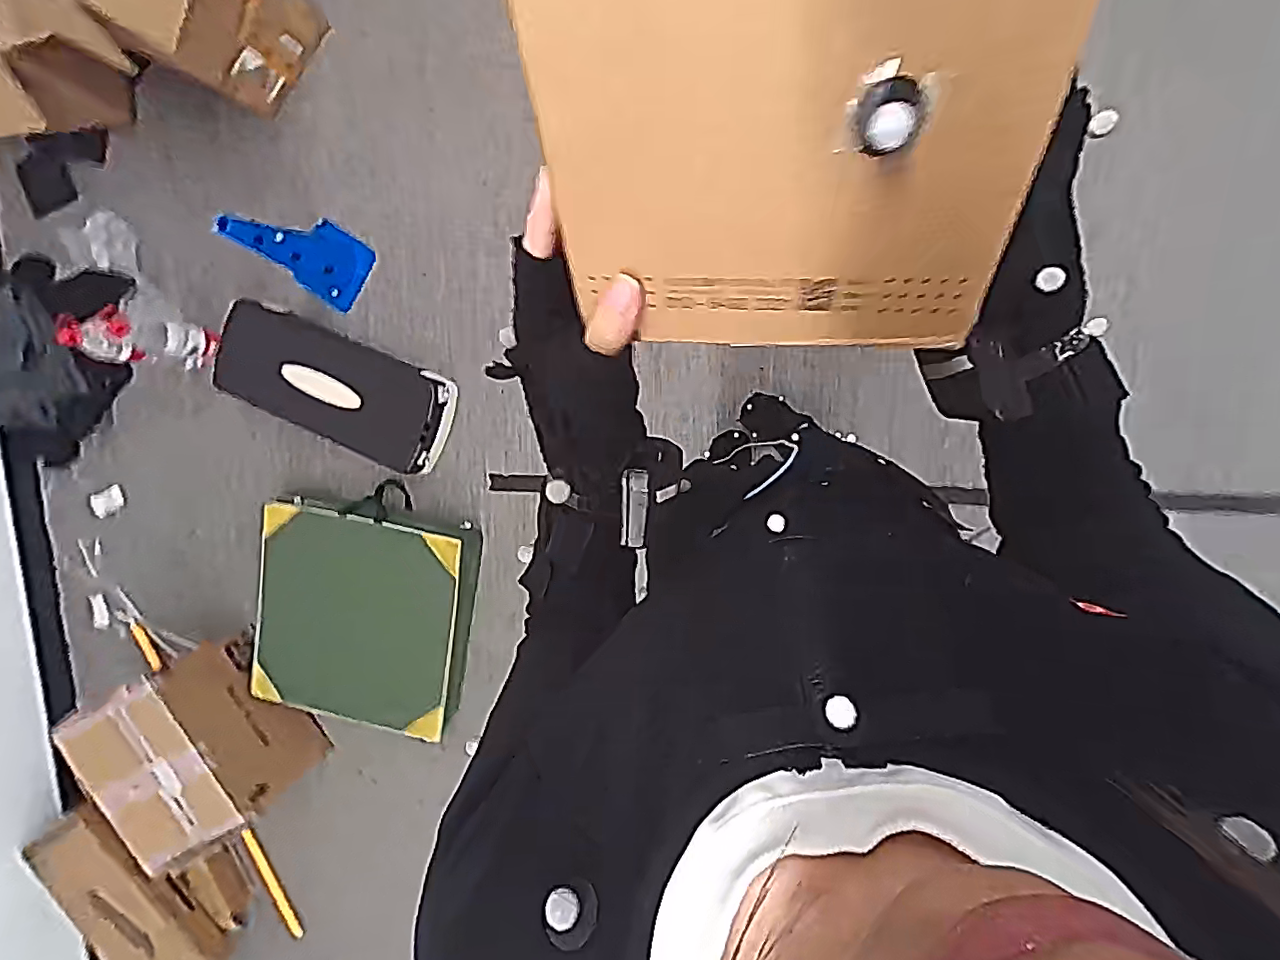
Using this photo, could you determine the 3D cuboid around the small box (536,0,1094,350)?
[{"bbox_3d":[0.070,-0.174,0.241,0.168,0.179,0.176,5,140,12],"label":"small box"}]
